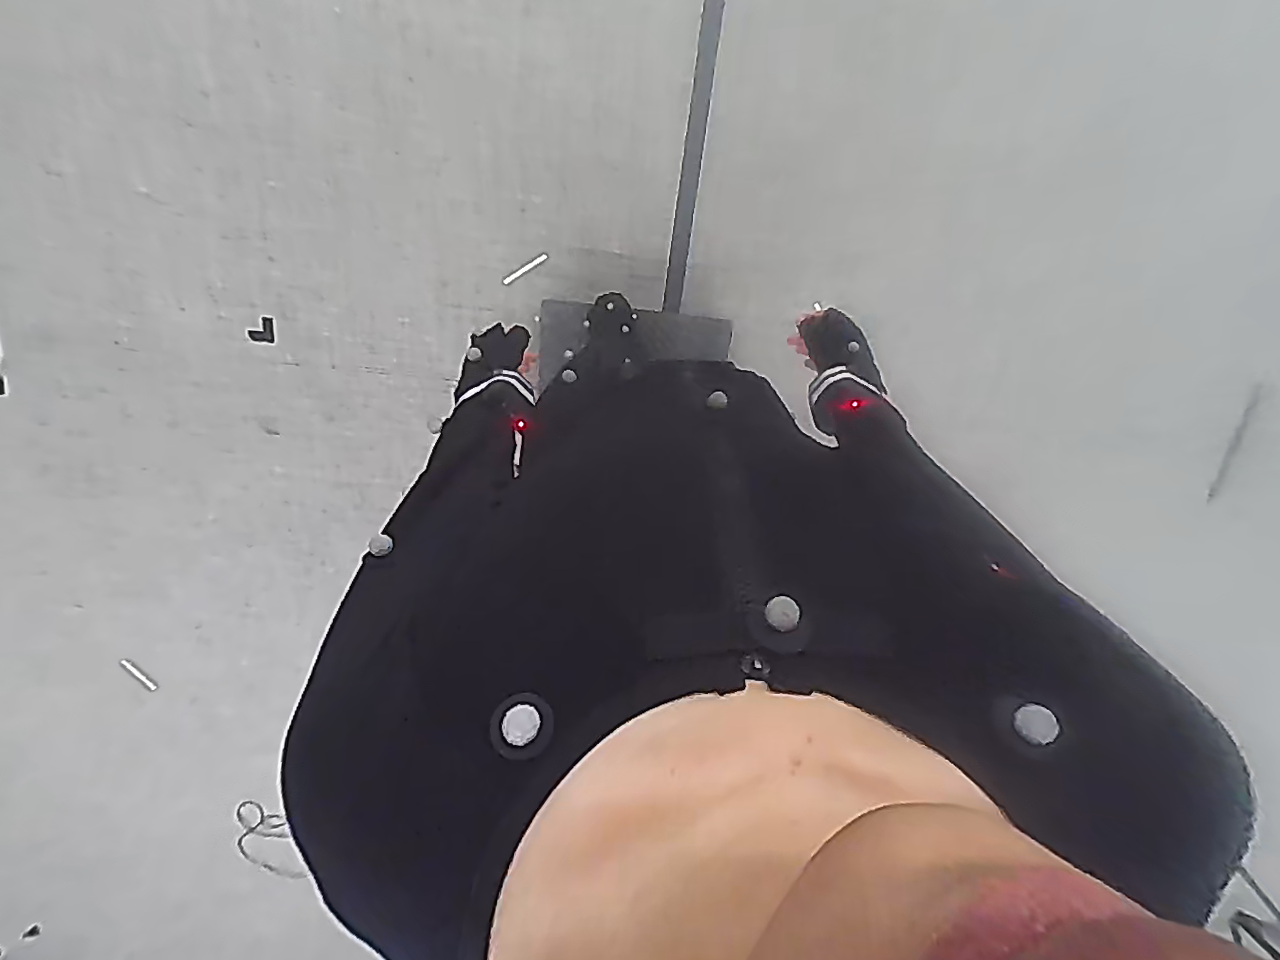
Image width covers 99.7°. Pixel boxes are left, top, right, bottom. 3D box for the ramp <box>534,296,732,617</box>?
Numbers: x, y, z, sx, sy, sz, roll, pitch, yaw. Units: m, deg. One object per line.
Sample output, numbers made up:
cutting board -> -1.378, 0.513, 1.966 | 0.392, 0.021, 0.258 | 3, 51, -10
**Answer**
ramp -> -0.056, 0.001, 1.580 | 0.509, 0.206, 0.991 | 3, 107, -5
